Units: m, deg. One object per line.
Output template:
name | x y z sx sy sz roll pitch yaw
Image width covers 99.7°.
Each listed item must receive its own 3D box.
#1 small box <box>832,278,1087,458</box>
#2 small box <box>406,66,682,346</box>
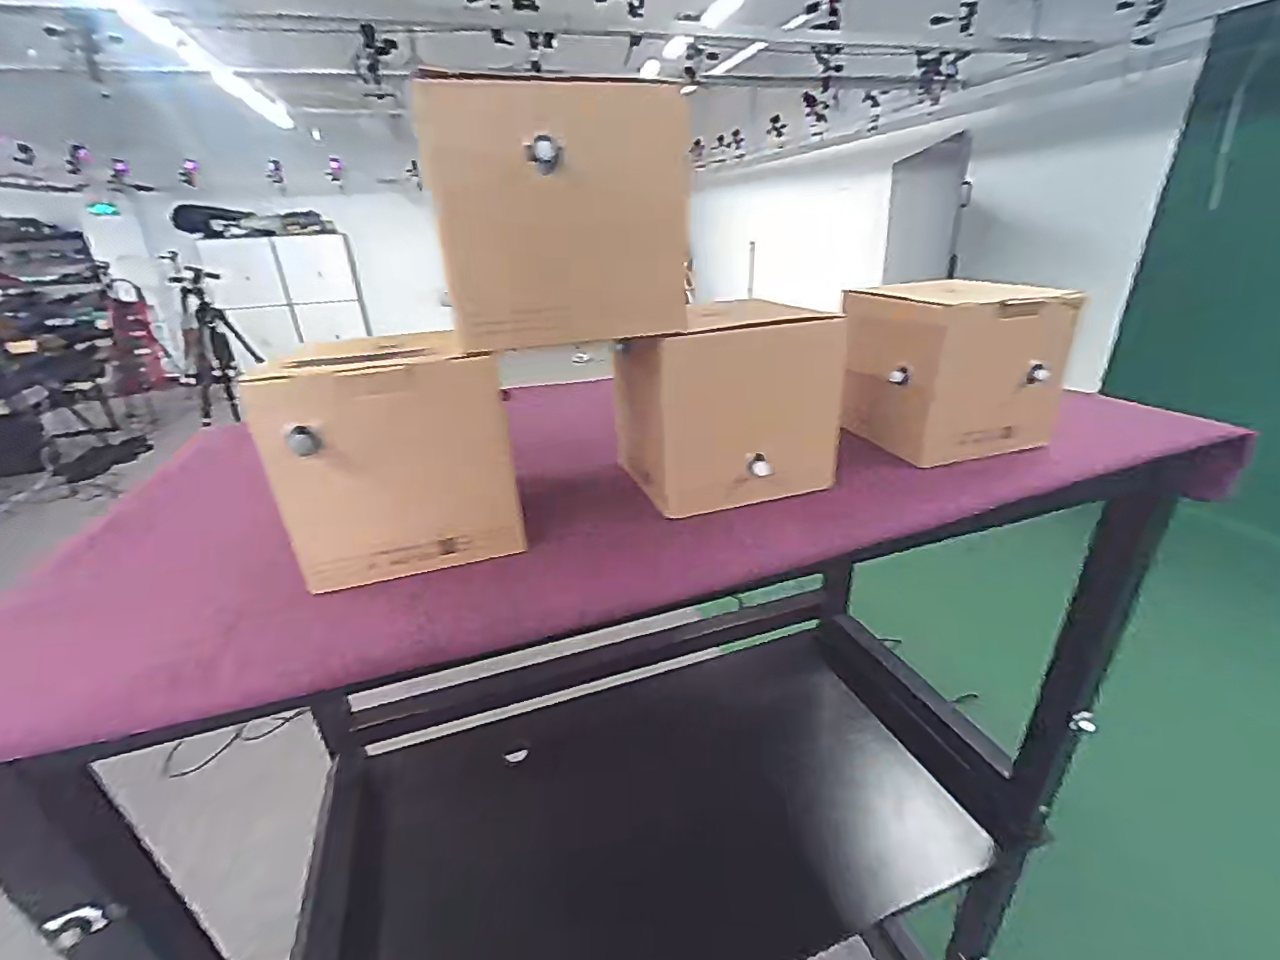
small box | 0.342 -0.130 0.617 0.168 0.176 0.179 -8 25 -12
small box | -0.073 -0.207 0.439 0.179 0.176 0.168 -9 24 -14
